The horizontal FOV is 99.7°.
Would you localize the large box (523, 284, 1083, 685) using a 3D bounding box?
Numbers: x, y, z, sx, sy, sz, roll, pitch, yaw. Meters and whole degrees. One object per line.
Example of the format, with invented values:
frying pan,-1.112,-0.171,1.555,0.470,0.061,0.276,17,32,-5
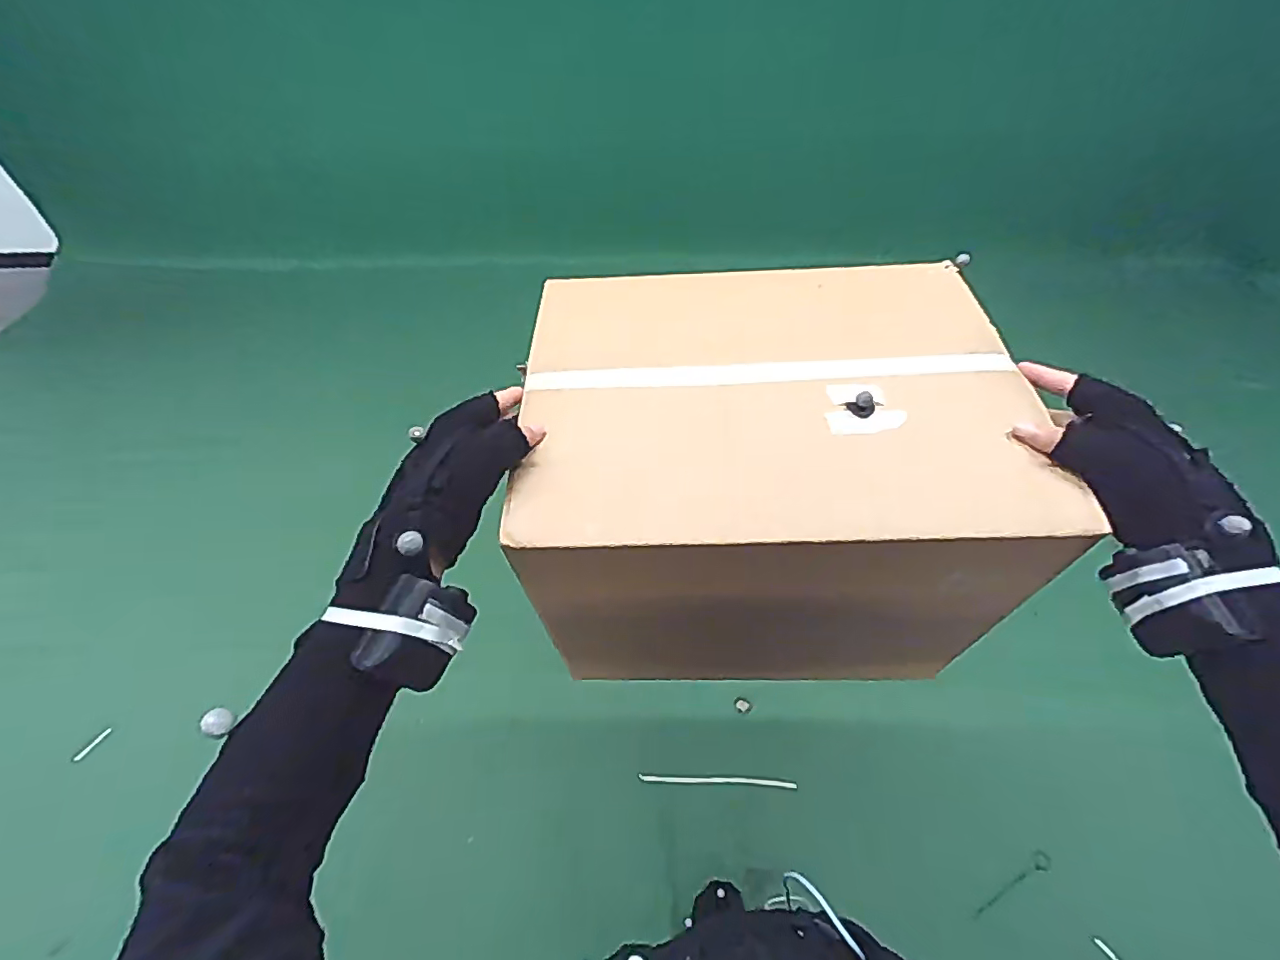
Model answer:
large box,0.115,0.016,0.586,0.408,0.320,0.320,-2,53,2
